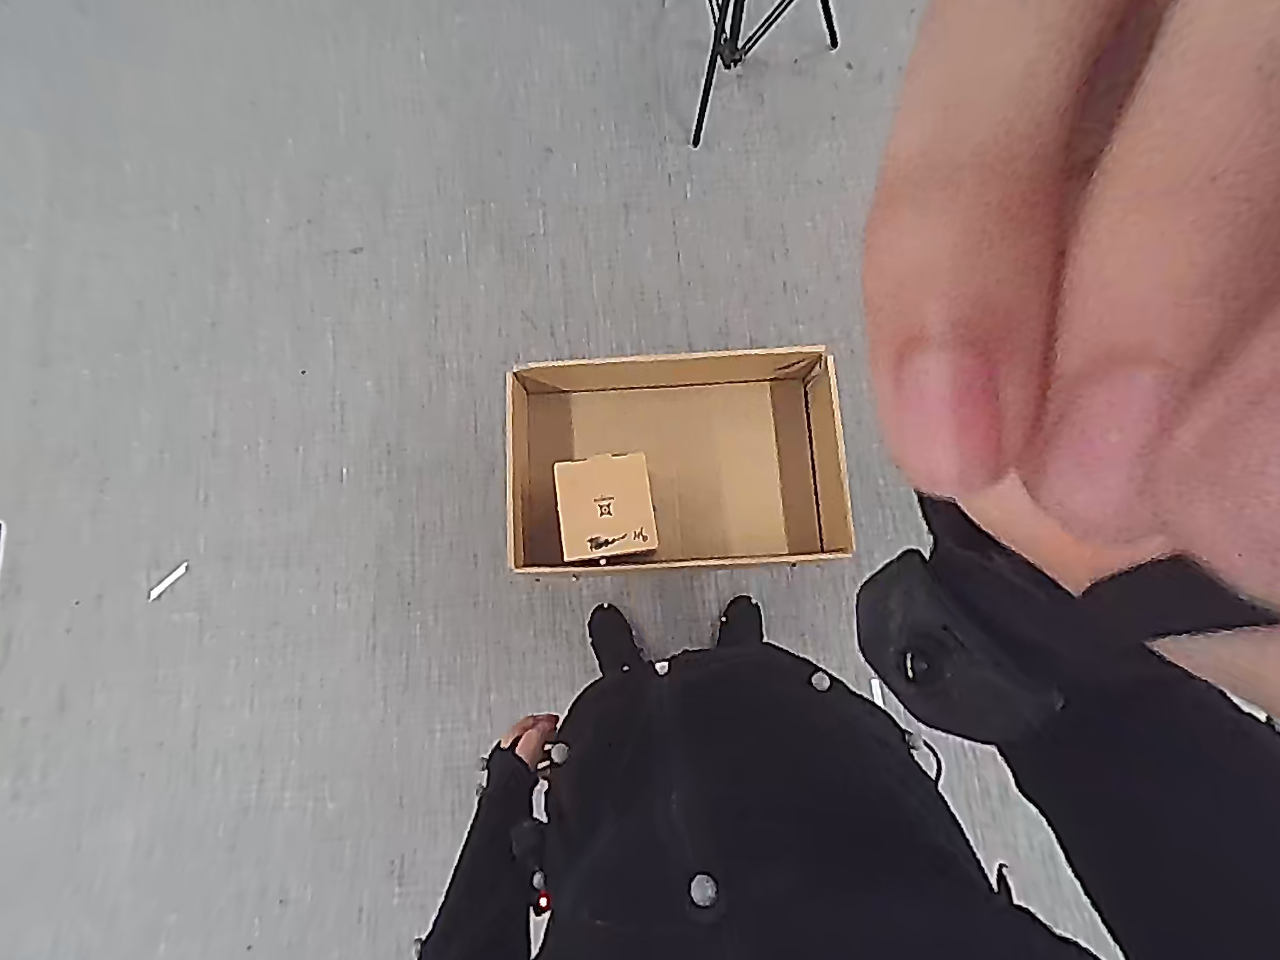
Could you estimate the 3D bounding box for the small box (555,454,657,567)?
[{"bbox_3d":[-0.061,0.063,1.019,0.168,0.176,0.179,-8,79,0],"label":"small box"}]
